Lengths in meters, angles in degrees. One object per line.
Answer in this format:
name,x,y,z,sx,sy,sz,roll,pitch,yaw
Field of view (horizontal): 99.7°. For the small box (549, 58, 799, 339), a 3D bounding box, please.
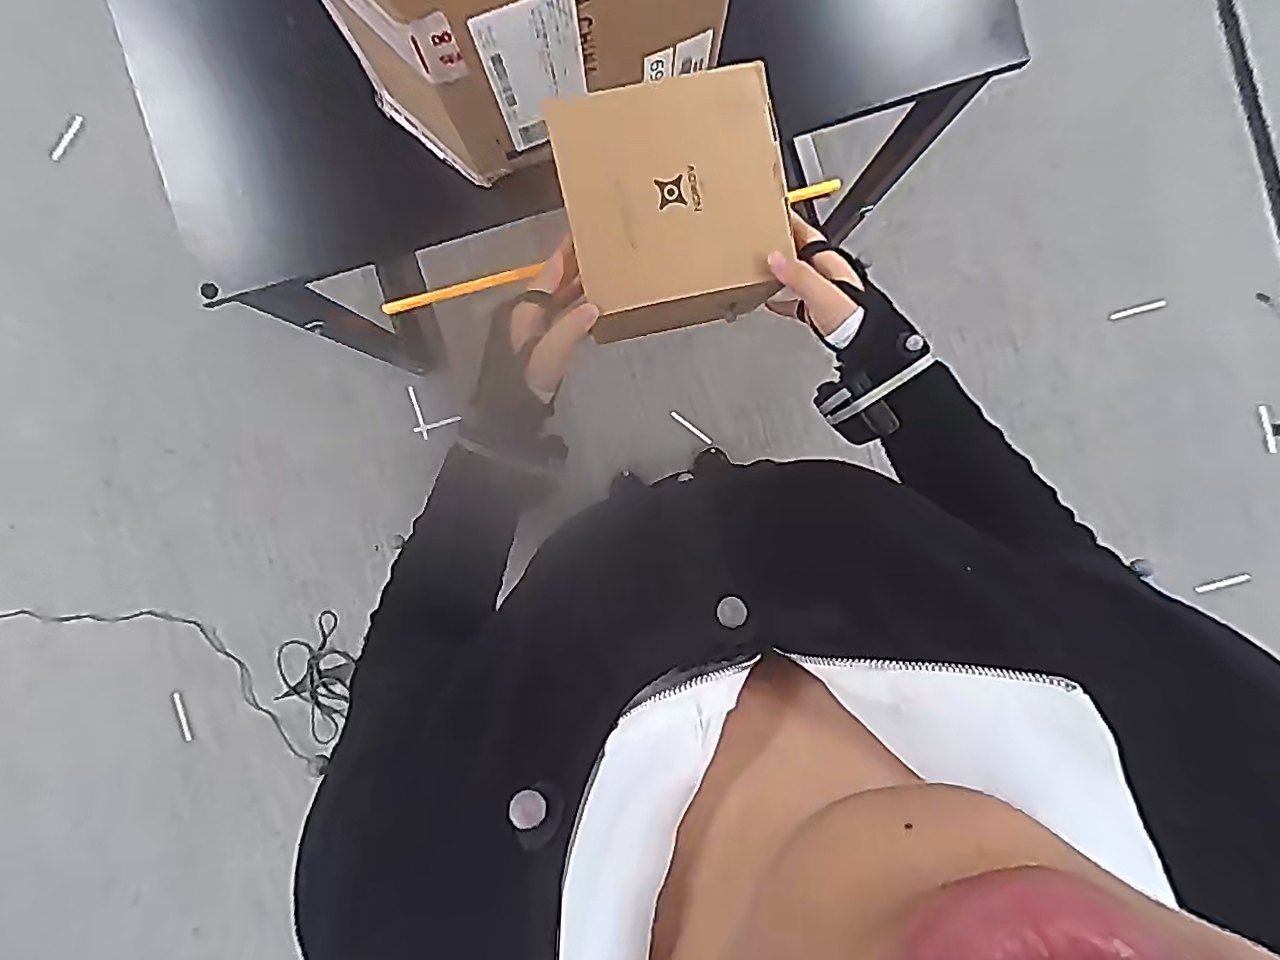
small box,0.025,-0.241,0.507,0.179,0.176,0.168,-13,96,-1
